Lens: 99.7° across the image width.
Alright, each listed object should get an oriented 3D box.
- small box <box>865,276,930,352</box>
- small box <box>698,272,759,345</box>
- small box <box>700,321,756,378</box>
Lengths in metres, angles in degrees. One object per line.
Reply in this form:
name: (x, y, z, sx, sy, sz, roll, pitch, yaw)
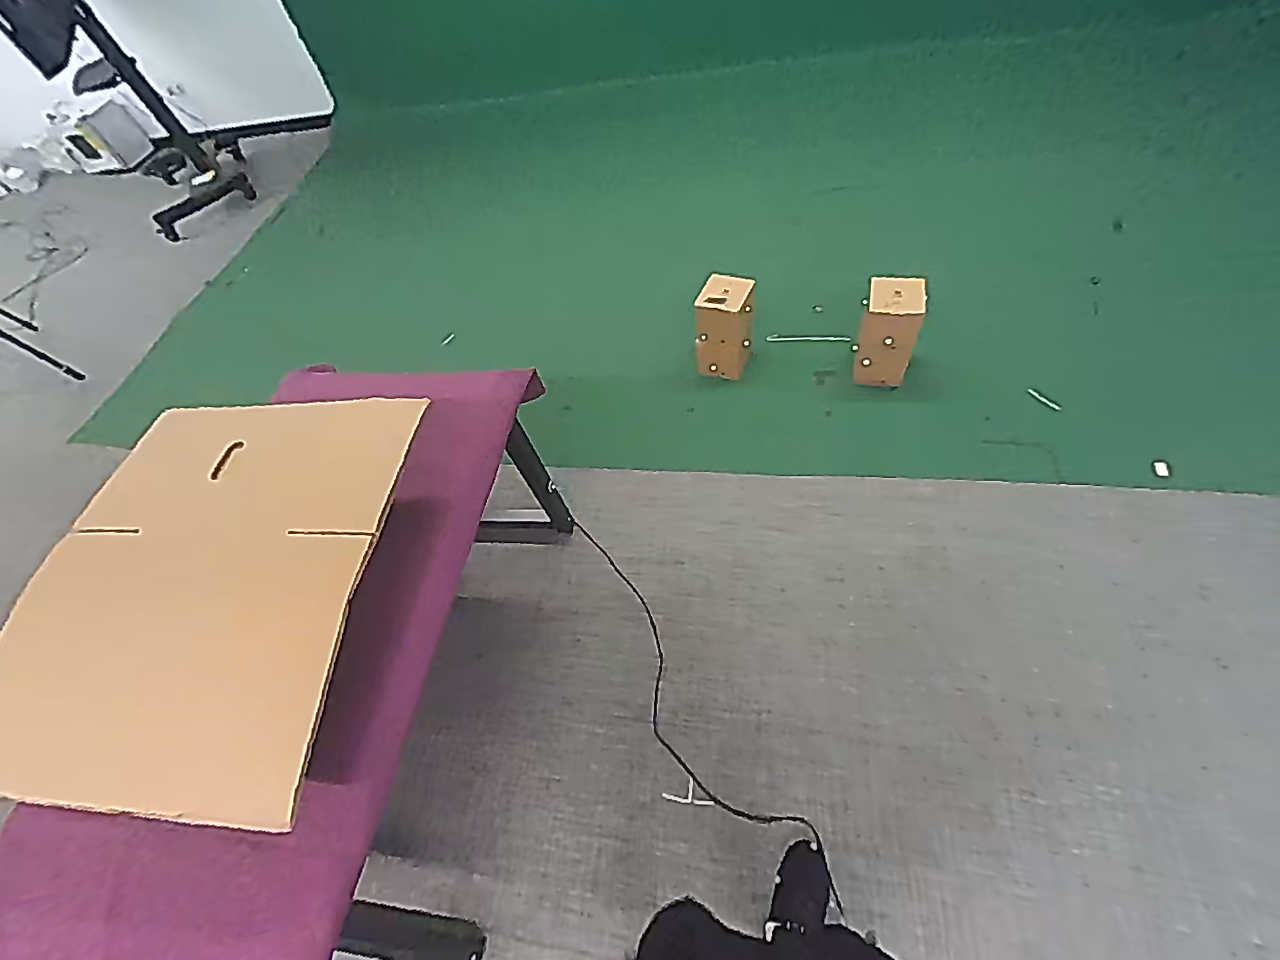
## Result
small box: (0.855, -0.554, 1.804, 0.168, 0.176, 0.179, 9, 60, 16)
small box: (0.324, -0.617, 1.955, 0.168, 0.176, 0.179, 19, 63, 21)
small box: (0.341, -0.524, 2.089, 0.168, 0.176, 0.179, 16, 63, 20)
